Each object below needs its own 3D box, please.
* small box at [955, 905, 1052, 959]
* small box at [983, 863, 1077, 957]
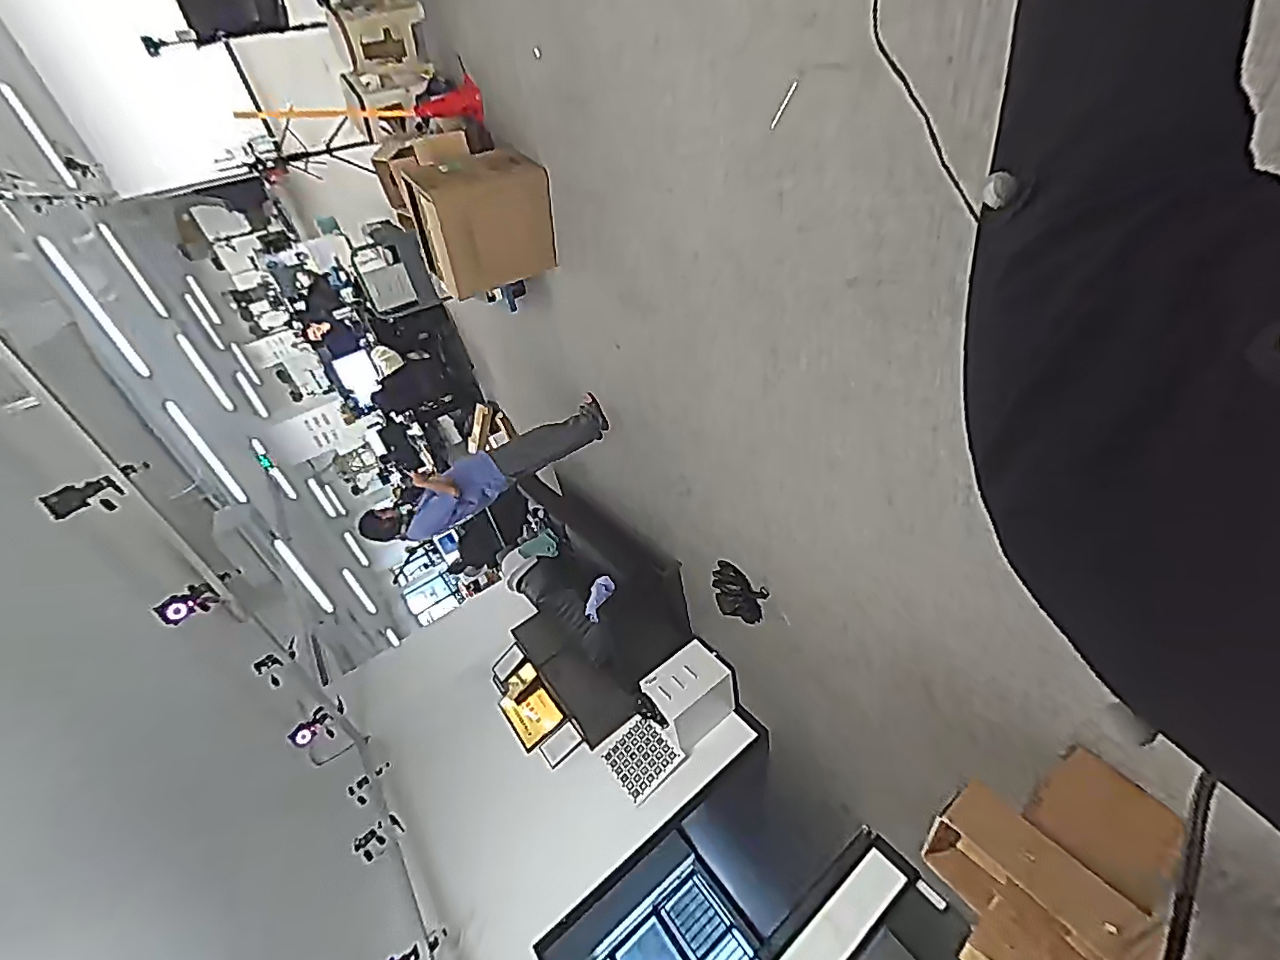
[{"bbox_3d":[1.064,1.402,1.583,0.168,0.176,0.179,35,146,46],"label":"small box"},{"bbox_3d":[1.189,1.322,1.651,0.168,0.176,0.179,34,148,46],"label":"small box"}]
